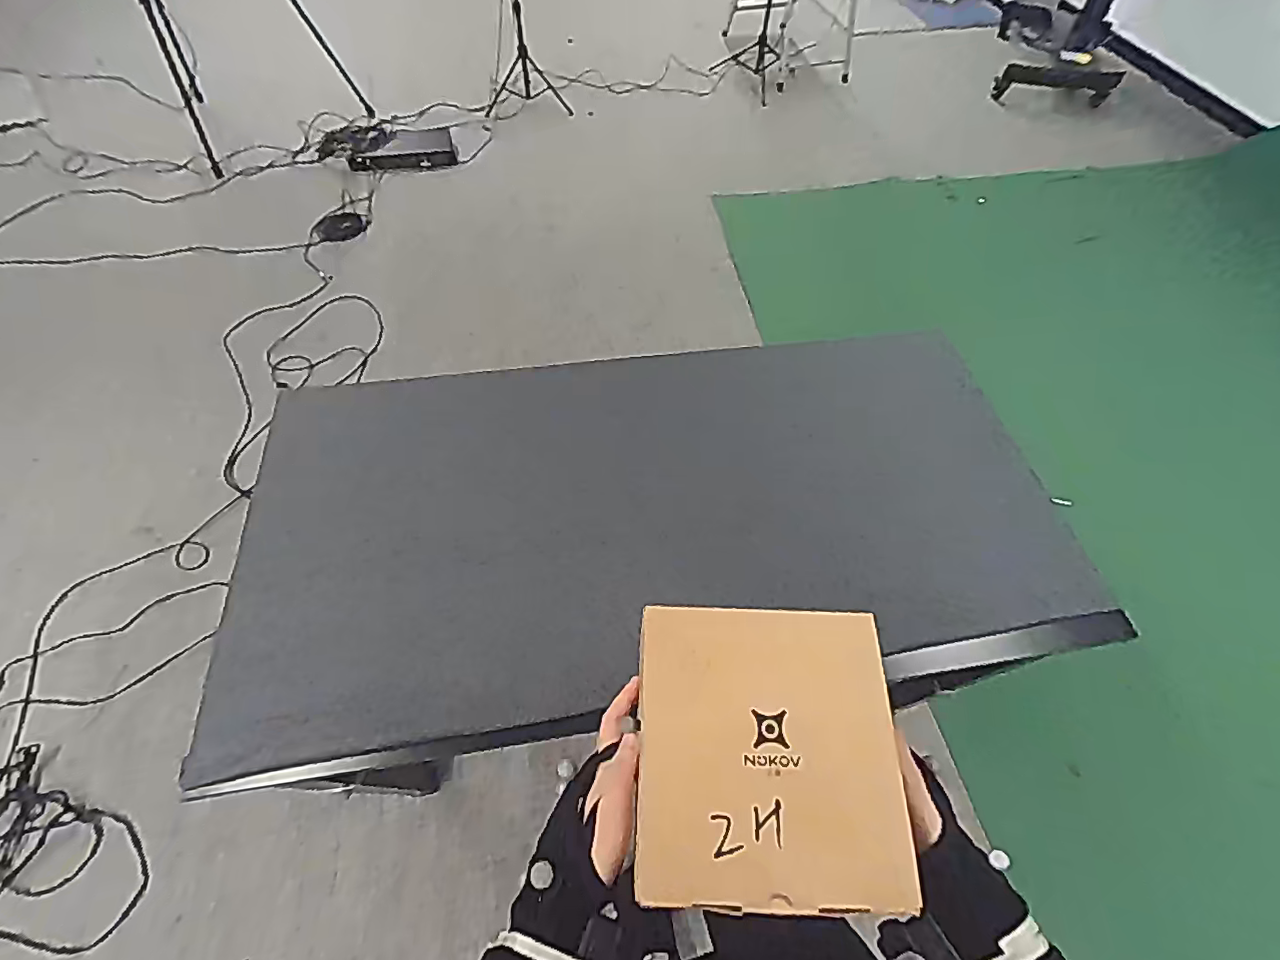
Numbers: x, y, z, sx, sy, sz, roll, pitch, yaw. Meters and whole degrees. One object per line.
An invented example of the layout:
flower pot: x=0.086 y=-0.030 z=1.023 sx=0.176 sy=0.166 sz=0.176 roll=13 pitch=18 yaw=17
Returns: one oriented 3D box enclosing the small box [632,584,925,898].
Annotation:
small box: x=0.081 y=0.192 z=0.413 sx=0.168 sy=0.176 sz=0.179 roll=2 pitch=62 yaw=0
